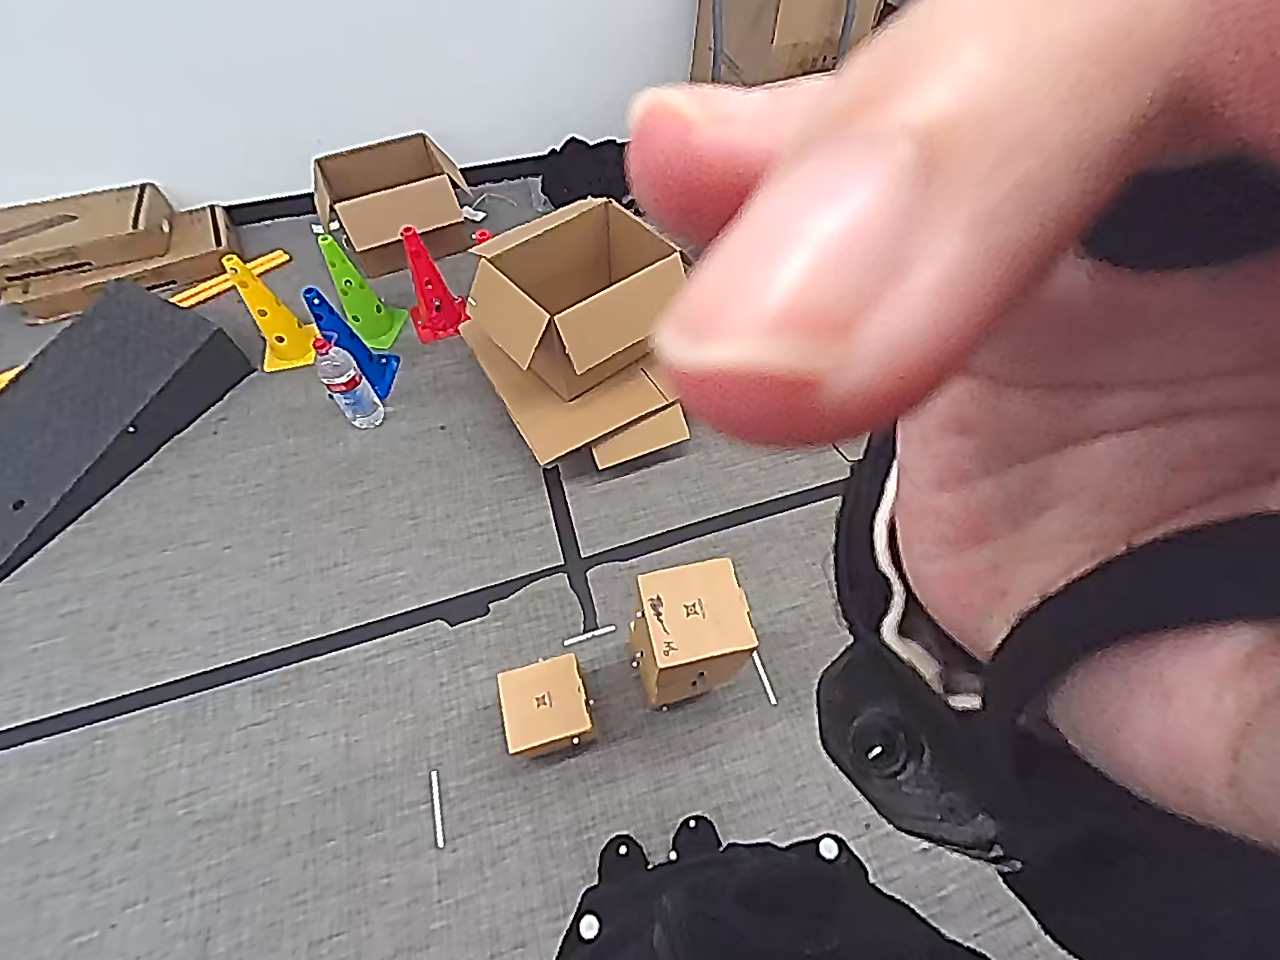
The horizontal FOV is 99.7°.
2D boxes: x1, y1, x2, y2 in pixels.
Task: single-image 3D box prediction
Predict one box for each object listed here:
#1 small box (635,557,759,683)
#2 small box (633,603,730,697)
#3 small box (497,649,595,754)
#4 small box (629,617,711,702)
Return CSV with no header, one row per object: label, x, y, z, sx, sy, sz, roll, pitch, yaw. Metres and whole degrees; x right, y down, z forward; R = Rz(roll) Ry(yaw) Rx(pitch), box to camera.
small box,0.094,0.259,0.988,0.179,0.176,0.168,-9,60,-8
small box,0.089,0.340,1.131,0.179,0.176,0.168,-12,61,-9
small box,-0.207,0.504,1.219,0.179,0.176,0.168,-14,60,-10
small box,0.075,0.411,1.280,0.168,0.176,0.179,-15,60,-10
